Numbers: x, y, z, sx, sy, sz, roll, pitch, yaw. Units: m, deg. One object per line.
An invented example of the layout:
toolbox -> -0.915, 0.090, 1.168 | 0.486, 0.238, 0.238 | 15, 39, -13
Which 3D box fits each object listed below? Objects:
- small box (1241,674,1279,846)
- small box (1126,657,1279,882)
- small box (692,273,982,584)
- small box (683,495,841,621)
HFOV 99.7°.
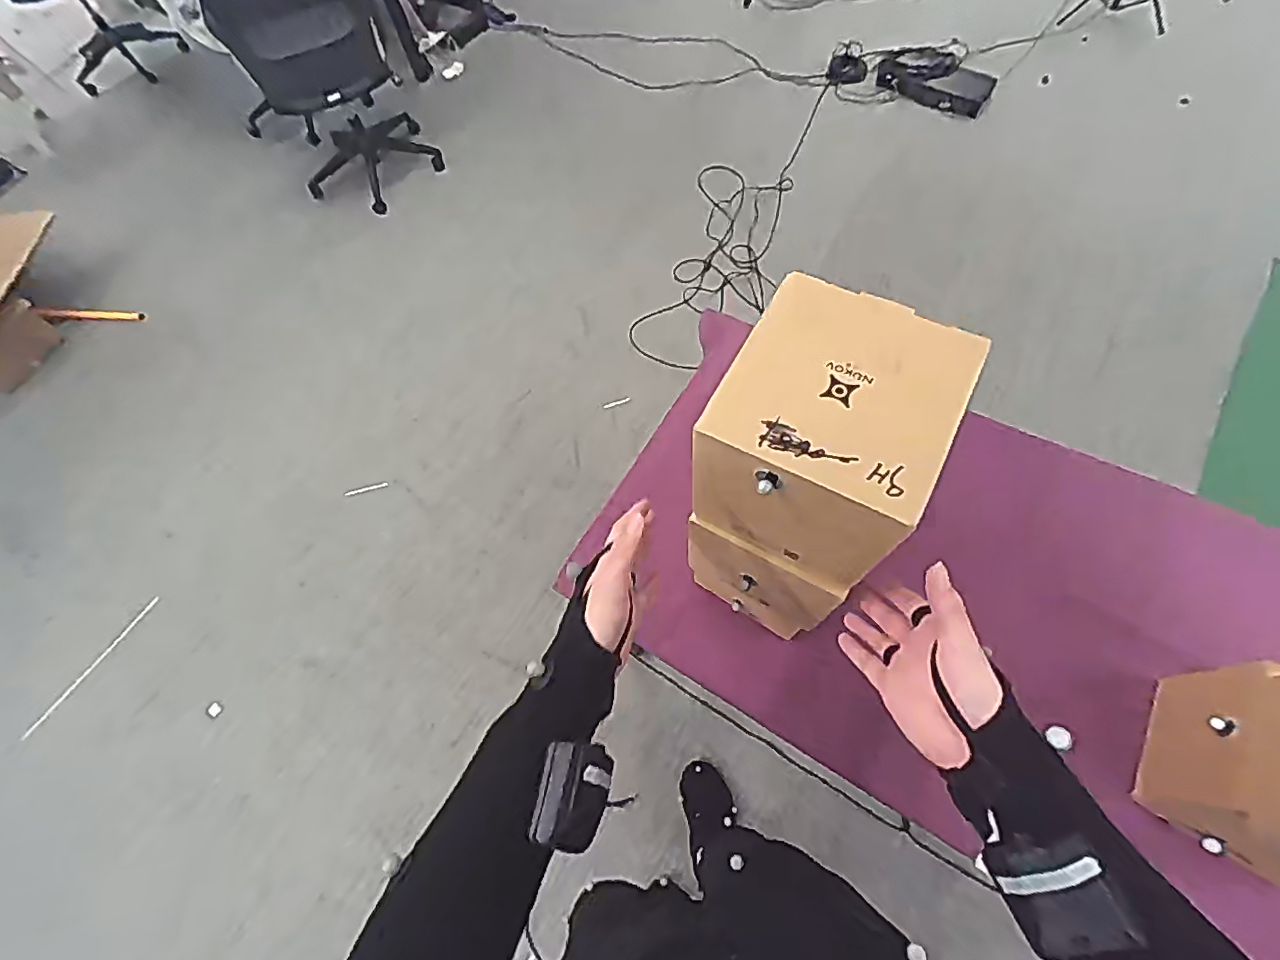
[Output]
small box -> 0.686, 0.274, 0.460 | 0.168, 0.176, 0.179 | 27, 68, 18
small box -> 0.712, 0.331, 0.613 | 0.168, 0.176, 0.179 | 30, 71, 19
small box -> 0.154, -0.037, 0.474 | 0.168, 0.176, 0.179 | 27, 70, 17
small box -> 0.164, 0.039, 0.620 | 0.168, 0.176, 0.179 | 28, 71, 16
